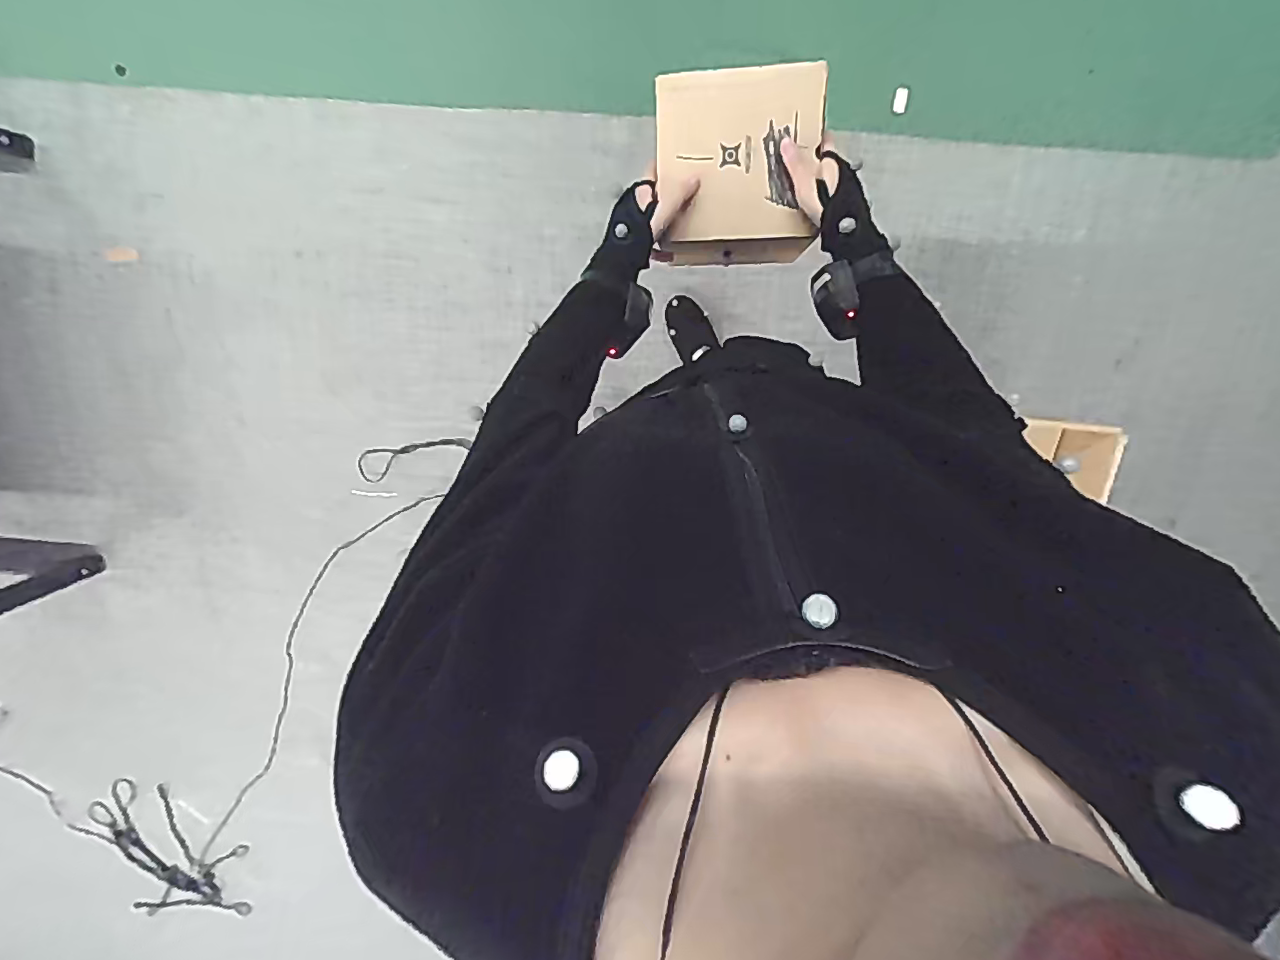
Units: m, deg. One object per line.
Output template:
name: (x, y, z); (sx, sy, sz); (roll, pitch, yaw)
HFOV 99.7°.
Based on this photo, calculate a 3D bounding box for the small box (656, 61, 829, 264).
small box: (0.113, -0.359, 0.643); (0.179, 0.176, 0.168); (1, 103, 8)
